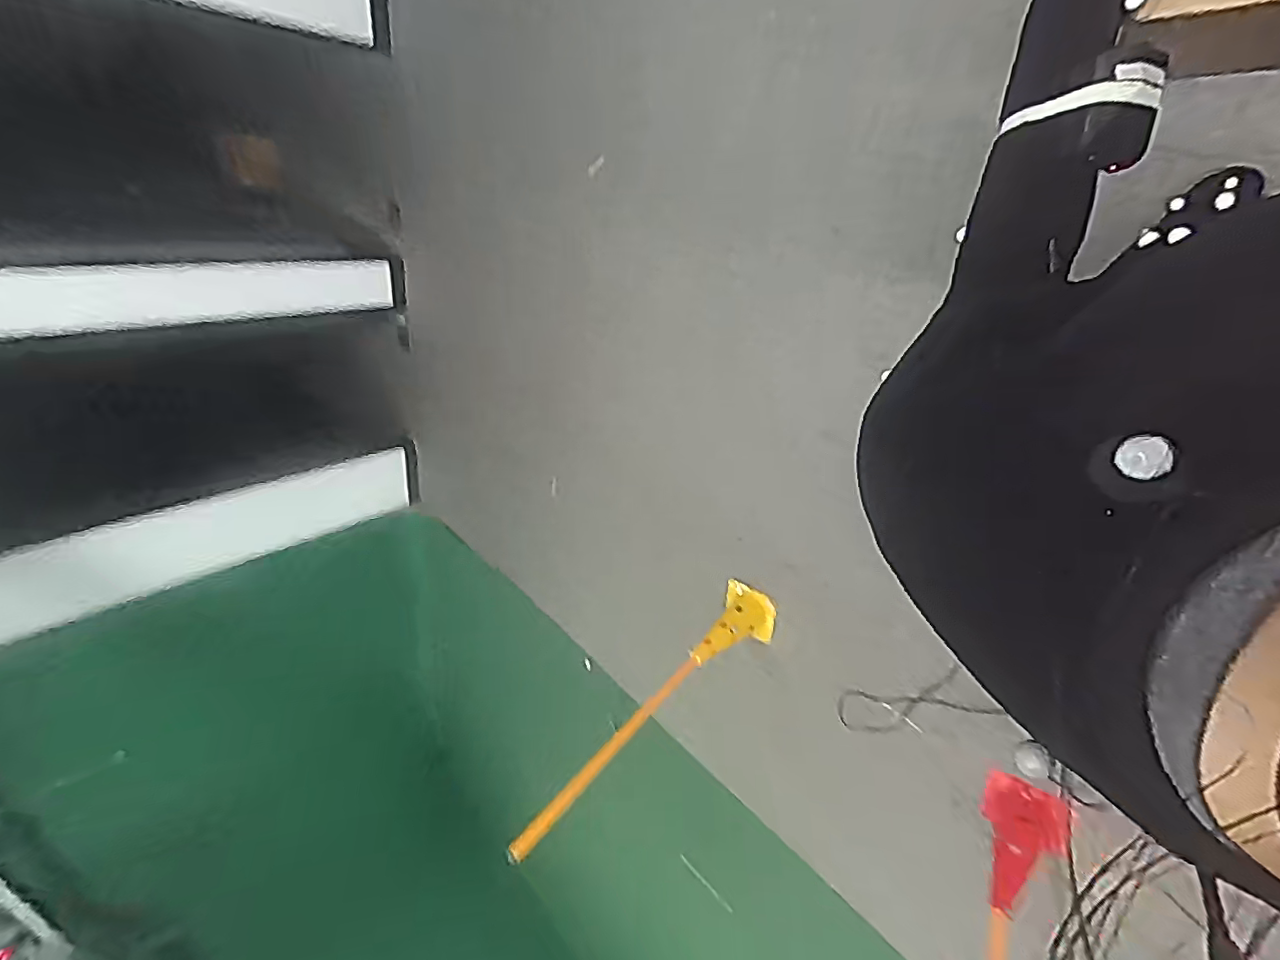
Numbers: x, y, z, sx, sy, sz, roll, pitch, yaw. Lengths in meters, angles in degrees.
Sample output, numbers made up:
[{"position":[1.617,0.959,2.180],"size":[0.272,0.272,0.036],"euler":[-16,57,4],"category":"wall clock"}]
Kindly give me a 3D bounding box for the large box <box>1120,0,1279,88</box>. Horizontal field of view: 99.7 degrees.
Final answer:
[{"position":[0.581,-0.455,0.305],"size":[0.408,0.320,0.320],"euler":[17,121,34],"category":"large box"}]
